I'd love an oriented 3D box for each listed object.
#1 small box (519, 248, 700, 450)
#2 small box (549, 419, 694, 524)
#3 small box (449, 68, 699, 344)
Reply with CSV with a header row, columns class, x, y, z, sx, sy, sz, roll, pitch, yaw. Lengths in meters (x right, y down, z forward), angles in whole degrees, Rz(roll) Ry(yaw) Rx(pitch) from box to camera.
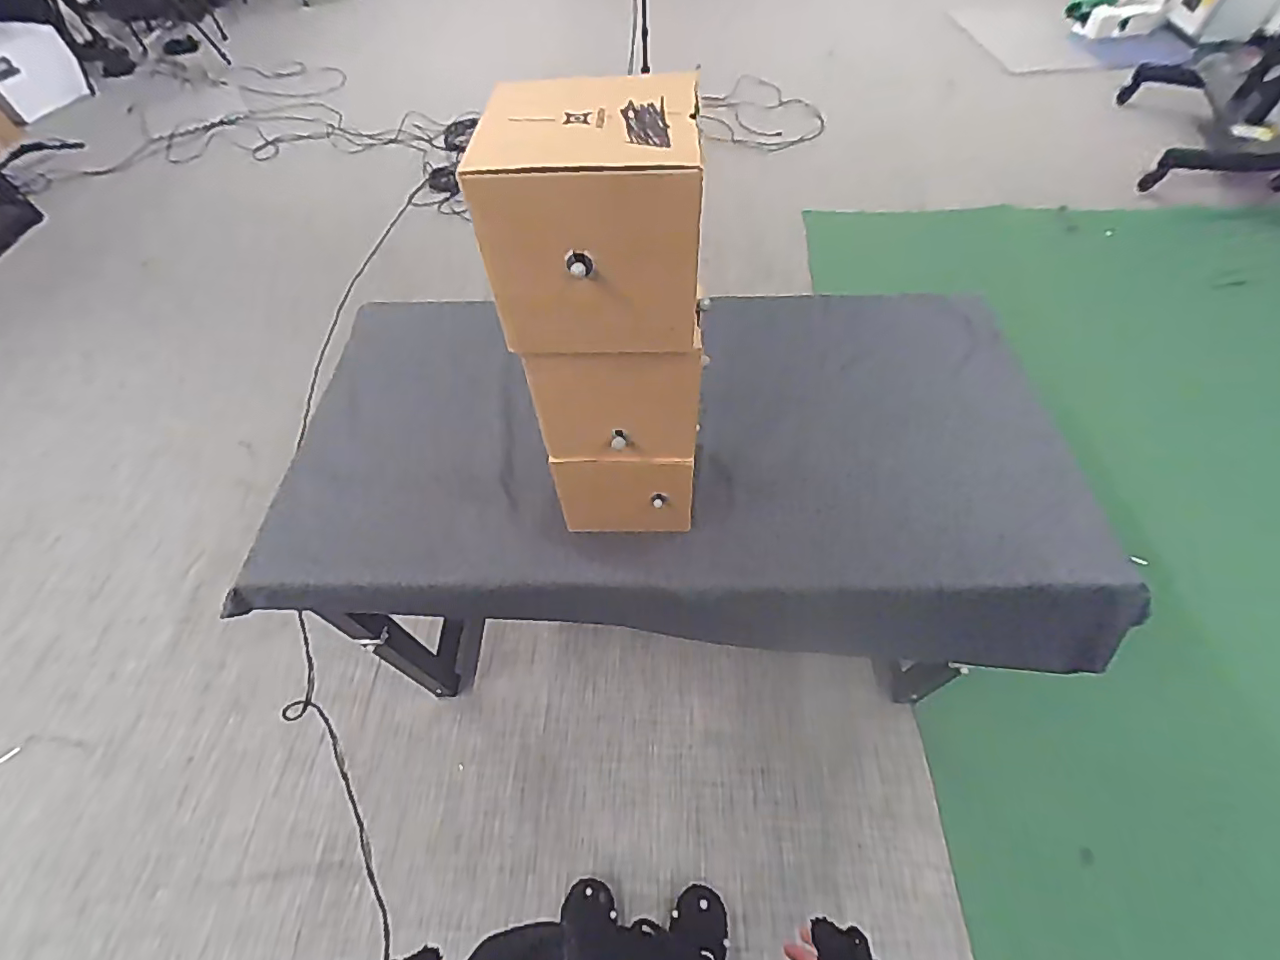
class,x,y,z,sx,sy,sz,roll,pitch,yaw
small box,-0.026,-0.147,0.626,0.179,0.176,0.168,0,55,2
small box,-0.018,-0.048,0.756,0.179,0.176,0.168,-2,55,3
small box,-0.041,-0.239,0.487,0.179,0.176,0.168,2,54,5
